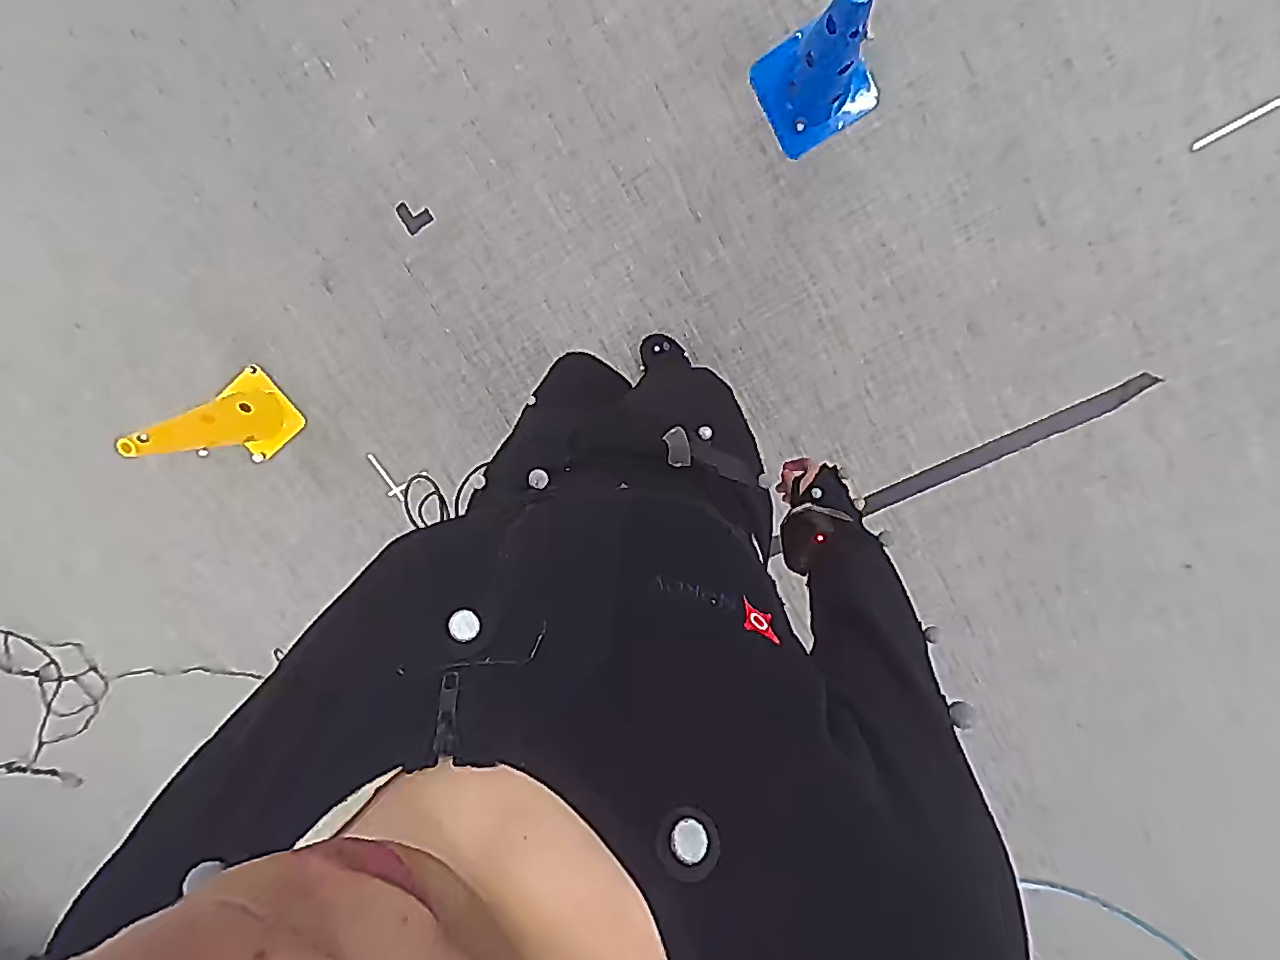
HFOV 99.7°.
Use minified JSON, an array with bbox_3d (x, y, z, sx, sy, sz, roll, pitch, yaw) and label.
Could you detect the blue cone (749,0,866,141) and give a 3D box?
[{"bbox_3d":[0.314,-0.754,0.917,0.193,0.380,0.192,-27,102,14],"label":"blue cone"}]
